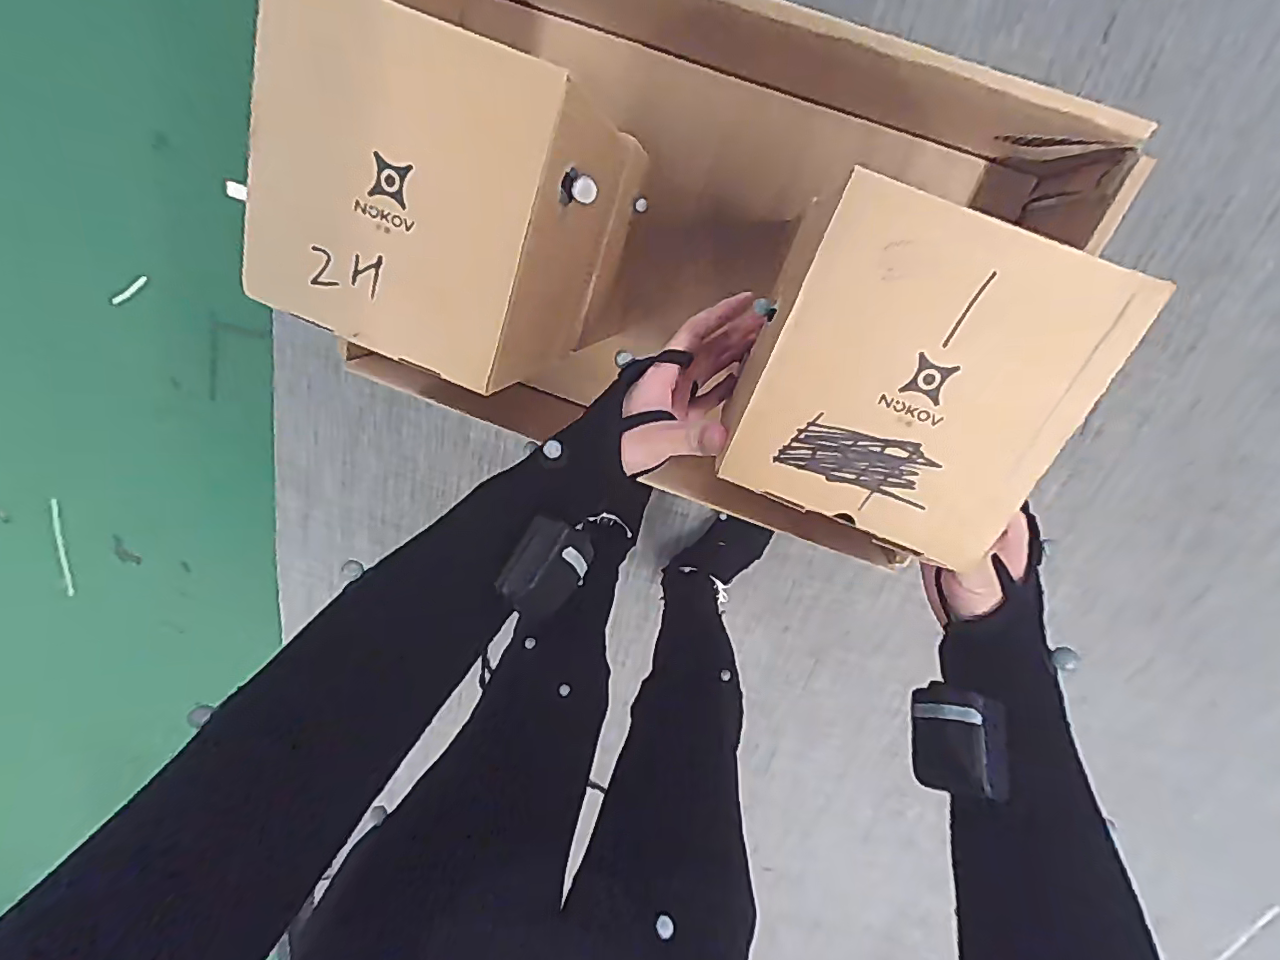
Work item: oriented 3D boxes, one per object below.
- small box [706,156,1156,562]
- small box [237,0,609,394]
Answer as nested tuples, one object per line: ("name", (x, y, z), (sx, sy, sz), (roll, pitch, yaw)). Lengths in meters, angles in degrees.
("small box", (0.156, -0.081, 0.363), (0.168, 0.176, 0.179), (21, 114, 1))
("small box", (-0.131, -0.184, 0.374), (0.168, 0.176, 0.179), (22, 113, 2))
